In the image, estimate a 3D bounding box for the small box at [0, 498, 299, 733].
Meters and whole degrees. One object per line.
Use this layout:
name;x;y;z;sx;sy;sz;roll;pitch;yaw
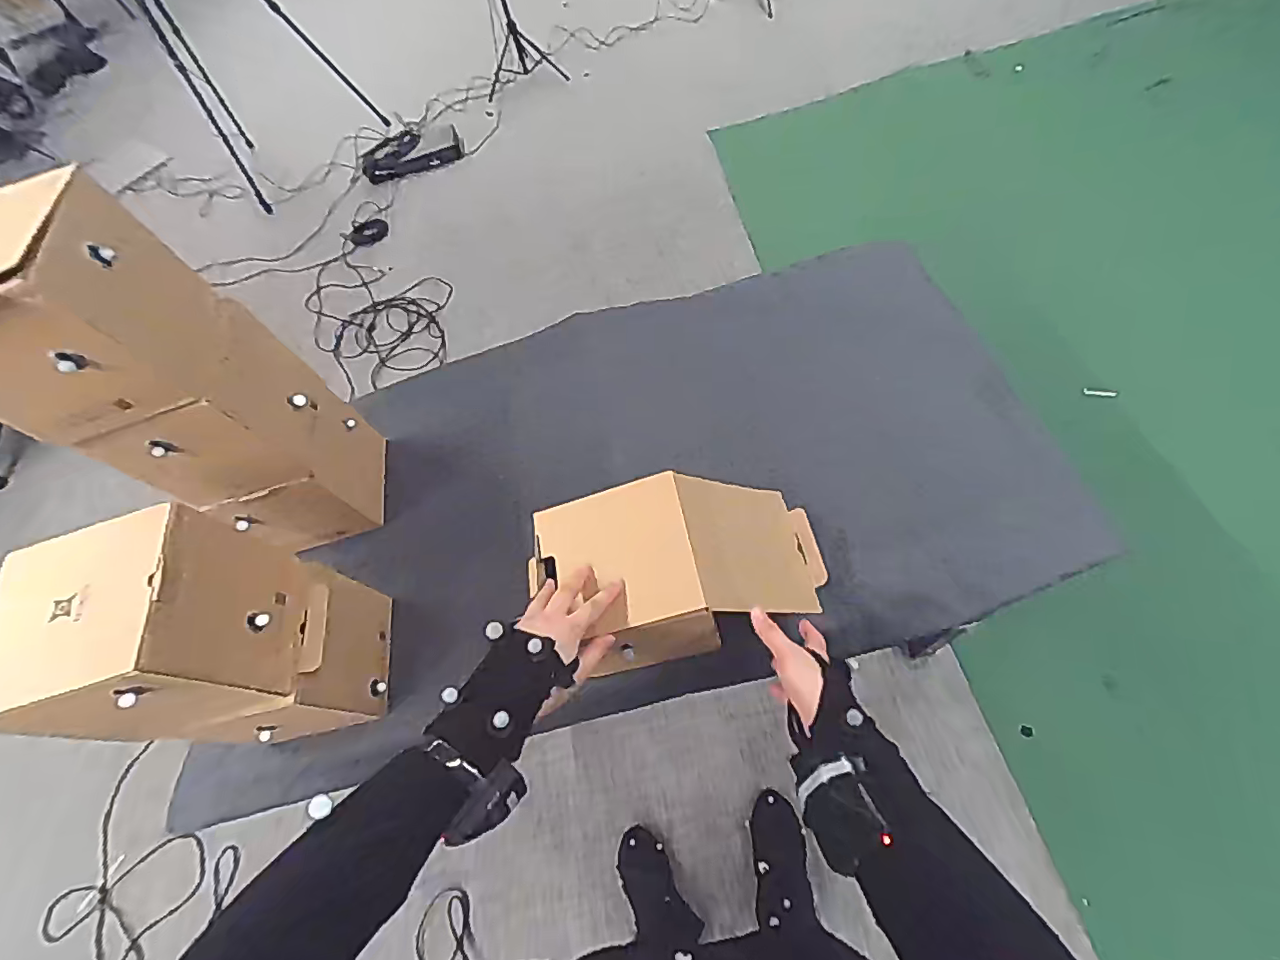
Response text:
small box;-0.488;0.147;0.549;0.179;0.176;0.168;-18;60;2

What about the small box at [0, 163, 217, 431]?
small box;-0.574;-0.170;0.545;0.168;0.176;0.179;-18;60;1

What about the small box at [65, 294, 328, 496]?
small box;-0.538;-0.097;0.685;0.179;0.176;0.168;-15;62;3

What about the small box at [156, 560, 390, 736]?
small box;-0.444;0.220;0.688;0.179;0.176;0.168;-14;61;5
